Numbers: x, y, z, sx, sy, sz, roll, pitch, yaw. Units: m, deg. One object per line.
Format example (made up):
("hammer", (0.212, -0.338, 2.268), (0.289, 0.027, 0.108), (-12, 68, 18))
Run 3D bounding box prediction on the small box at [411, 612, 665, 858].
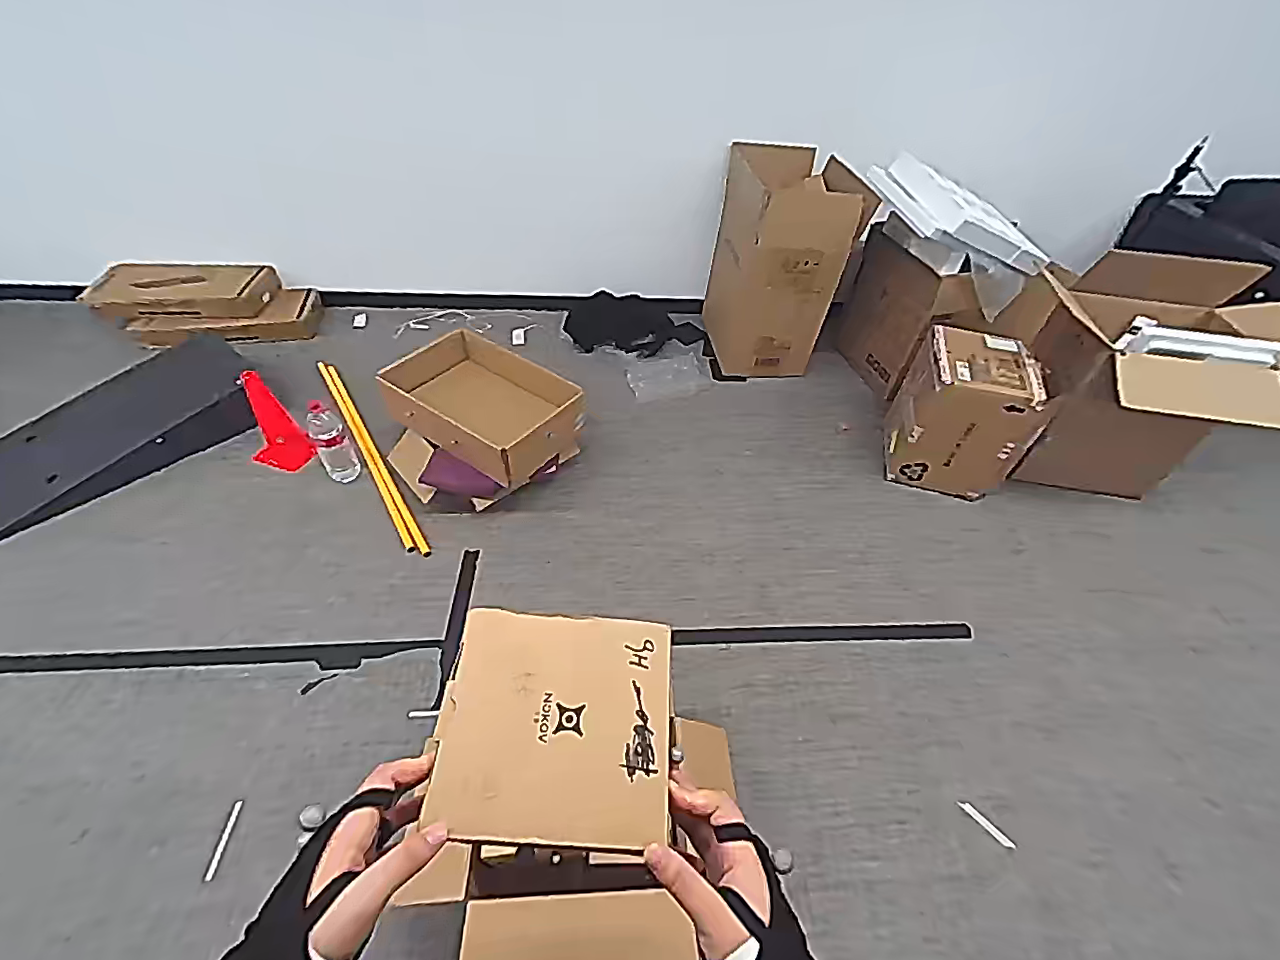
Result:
("small box", (-0.074, 0.232, 0.484), (0.179, 0.176, 0.168), (5, 54, -3))
